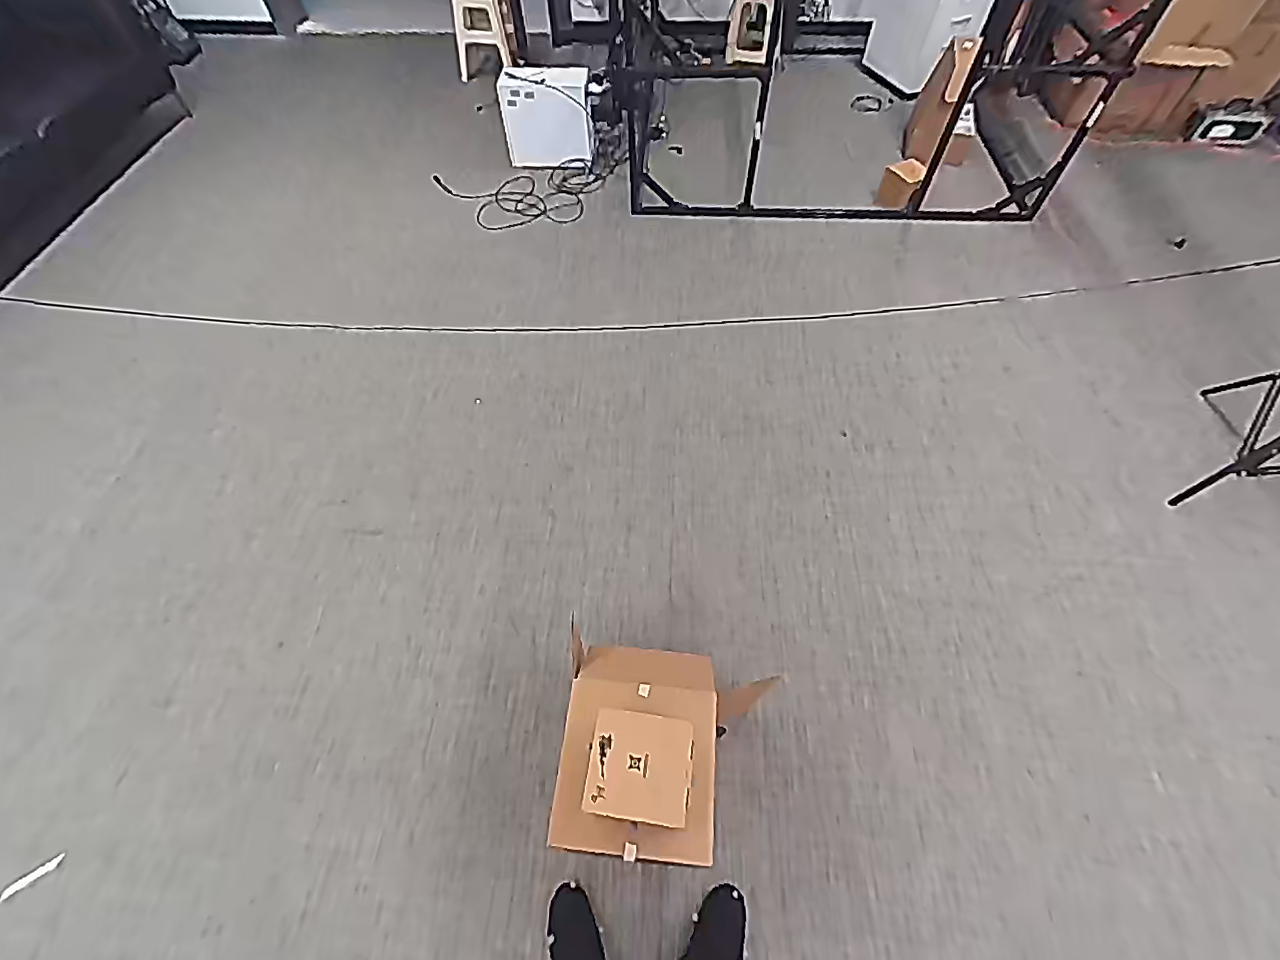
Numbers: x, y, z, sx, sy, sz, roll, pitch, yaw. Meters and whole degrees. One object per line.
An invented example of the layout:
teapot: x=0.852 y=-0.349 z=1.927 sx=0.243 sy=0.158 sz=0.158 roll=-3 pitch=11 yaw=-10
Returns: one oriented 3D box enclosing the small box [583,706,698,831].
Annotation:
small box: x=0.004 y=0.526 z=0.985 sx=0.179 sy=0.176 sz=0.168 roll=8 pitch=58 yaw=5
